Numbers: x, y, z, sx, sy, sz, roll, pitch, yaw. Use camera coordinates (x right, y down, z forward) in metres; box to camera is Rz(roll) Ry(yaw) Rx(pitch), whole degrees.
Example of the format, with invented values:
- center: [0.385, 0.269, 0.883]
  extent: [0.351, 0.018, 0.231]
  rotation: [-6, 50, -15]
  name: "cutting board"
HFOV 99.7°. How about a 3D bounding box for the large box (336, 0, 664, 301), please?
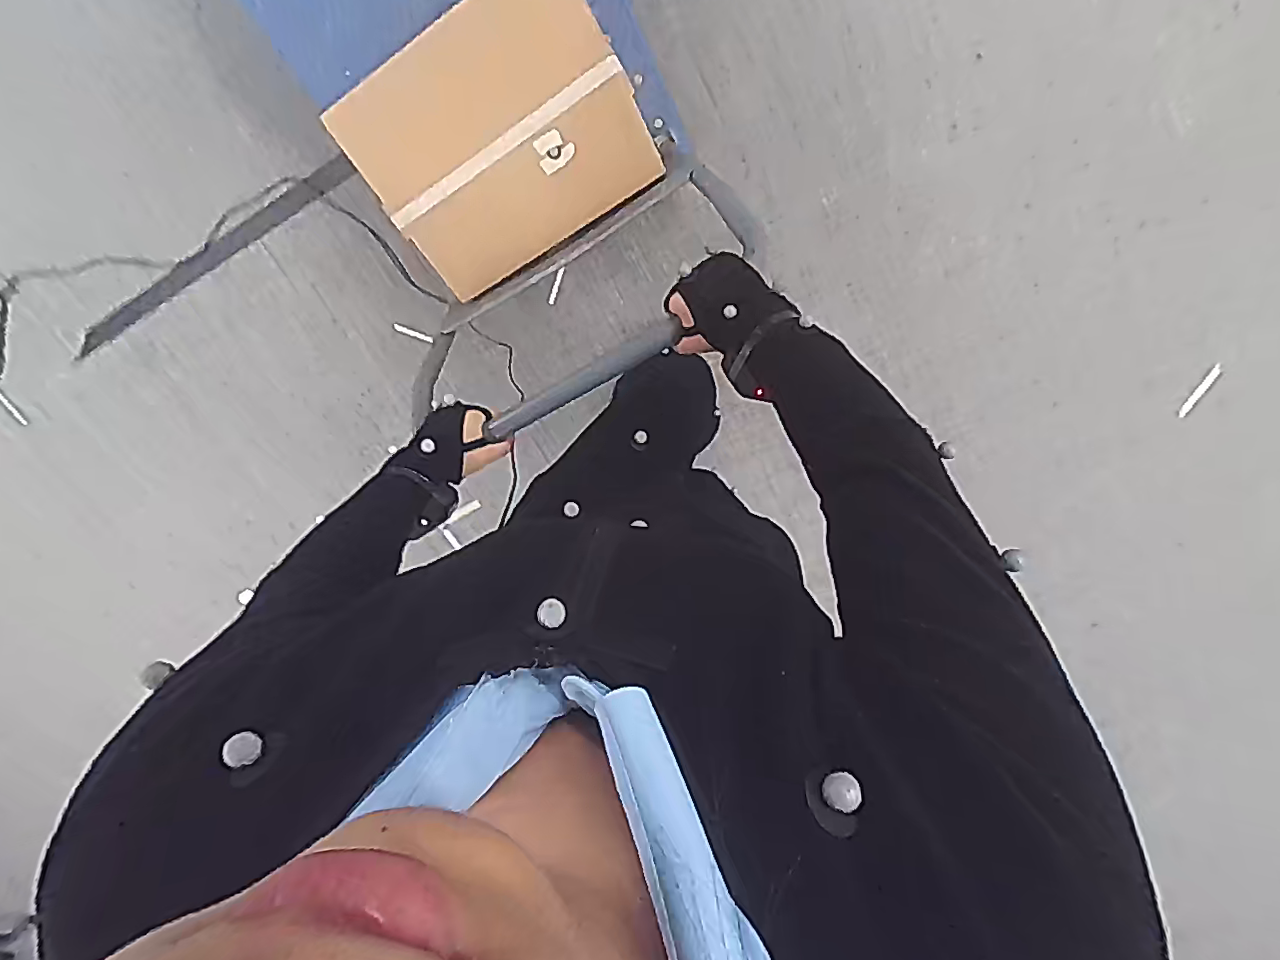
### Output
- center: [-0.217, -0.588, 0.944]
  extent: [0.408, 0.320, 0.320]
  rotation: [-28, 123, 13]
  name: "large box"
